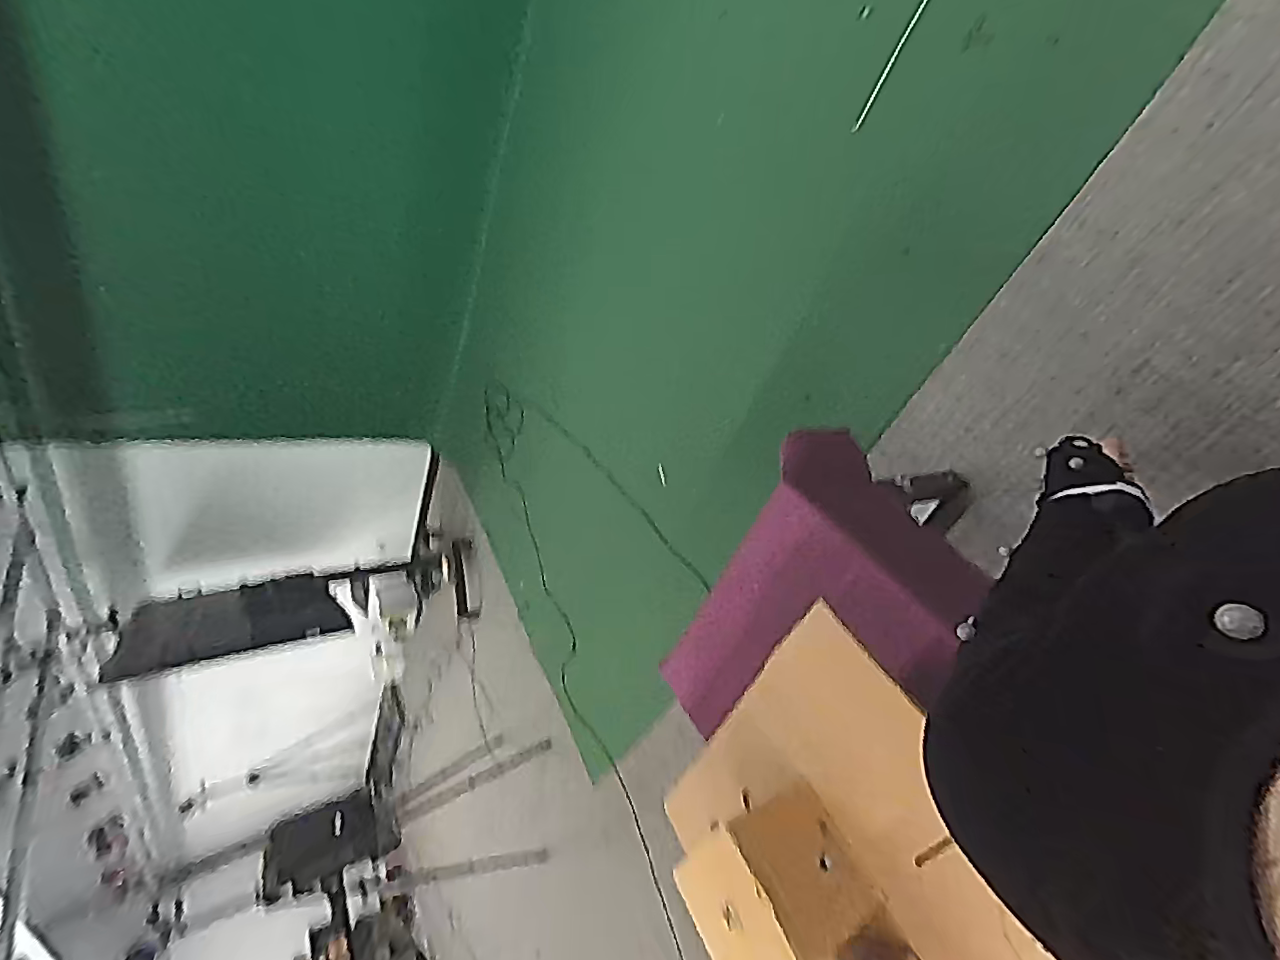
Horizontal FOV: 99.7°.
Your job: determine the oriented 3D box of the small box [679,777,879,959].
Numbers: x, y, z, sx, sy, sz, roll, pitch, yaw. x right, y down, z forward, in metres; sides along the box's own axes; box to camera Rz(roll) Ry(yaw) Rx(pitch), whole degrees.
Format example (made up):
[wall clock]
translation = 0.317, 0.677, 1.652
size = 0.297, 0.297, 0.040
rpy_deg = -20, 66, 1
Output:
[small box]
translation = 0.189, 0.553, 0.750
size = 0.168, 0.176, 0.179
rpy_deg = 54, 131, 38
